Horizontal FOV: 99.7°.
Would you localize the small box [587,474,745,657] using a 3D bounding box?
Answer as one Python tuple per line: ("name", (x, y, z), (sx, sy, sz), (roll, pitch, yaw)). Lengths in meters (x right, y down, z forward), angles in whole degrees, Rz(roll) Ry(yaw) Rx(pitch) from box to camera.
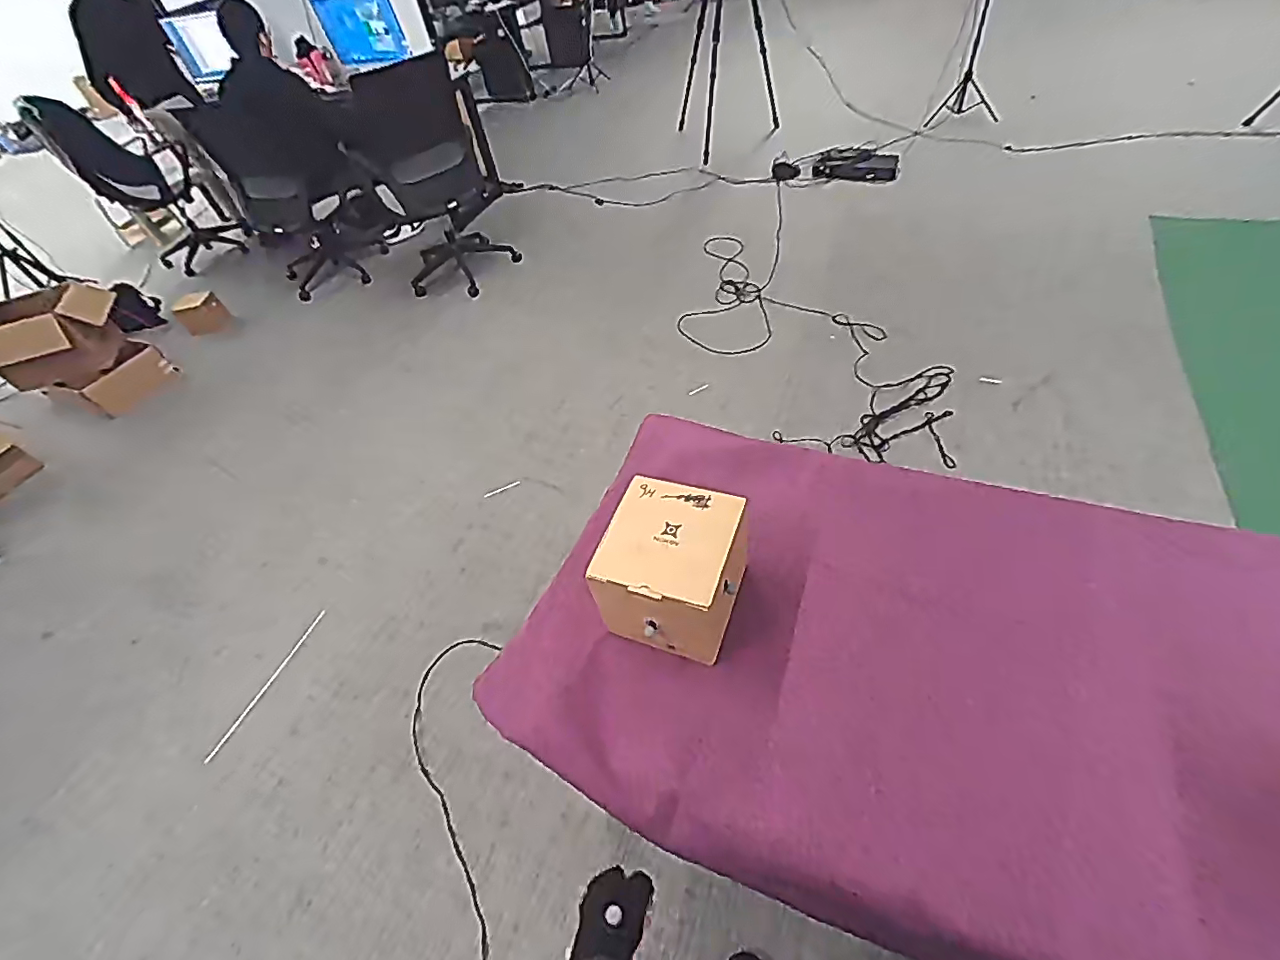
("small box", (0.049, 0.122, 0.761), (0.168, 0.176, 0.179), (12, 53, 20))
